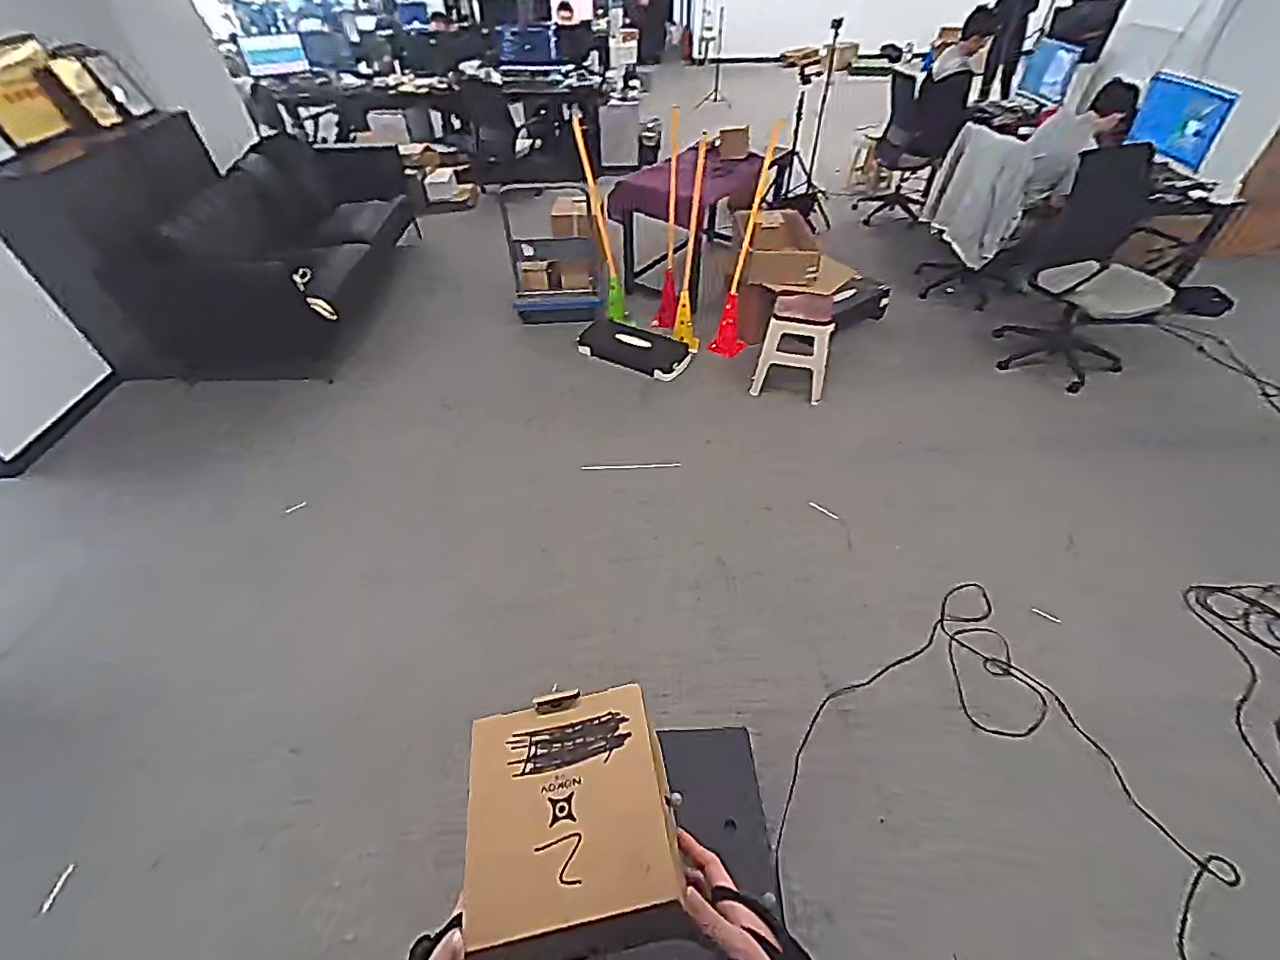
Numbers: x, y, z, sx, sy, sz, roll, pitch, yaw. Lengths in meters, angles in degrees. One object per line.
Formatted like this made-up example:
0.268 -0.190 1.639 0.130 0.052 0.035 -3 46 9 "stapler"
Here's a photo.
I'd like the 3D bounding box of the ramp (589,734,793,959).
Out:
0.118 1.113 1.332 0.509 0.206 0.991 -4 45 0 "ramp"
